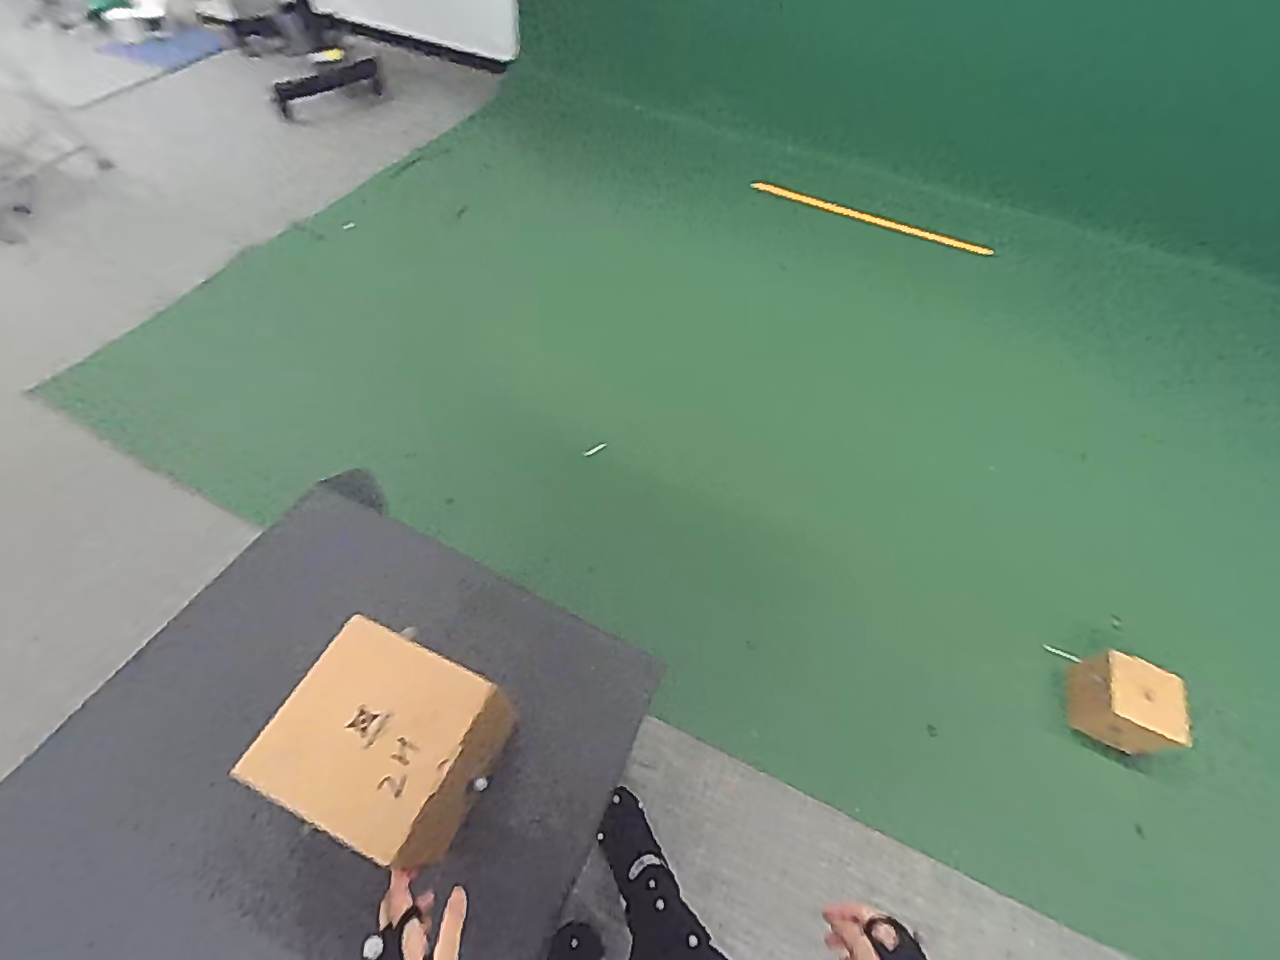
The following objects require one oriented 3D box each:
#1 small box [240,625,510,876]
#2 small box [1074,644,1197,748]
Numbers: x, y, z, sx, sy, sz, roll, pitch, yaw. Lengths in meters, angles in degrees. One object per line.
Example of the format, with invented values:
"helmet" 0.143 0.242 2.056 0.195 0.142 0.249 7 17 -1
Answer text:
"small box" -0.265 0.292 0.588 0.179 0.176 0.168 26 59 11
"small box" 1.247 0.555 1.377 0.168 0.176 0.179 22 56 12
